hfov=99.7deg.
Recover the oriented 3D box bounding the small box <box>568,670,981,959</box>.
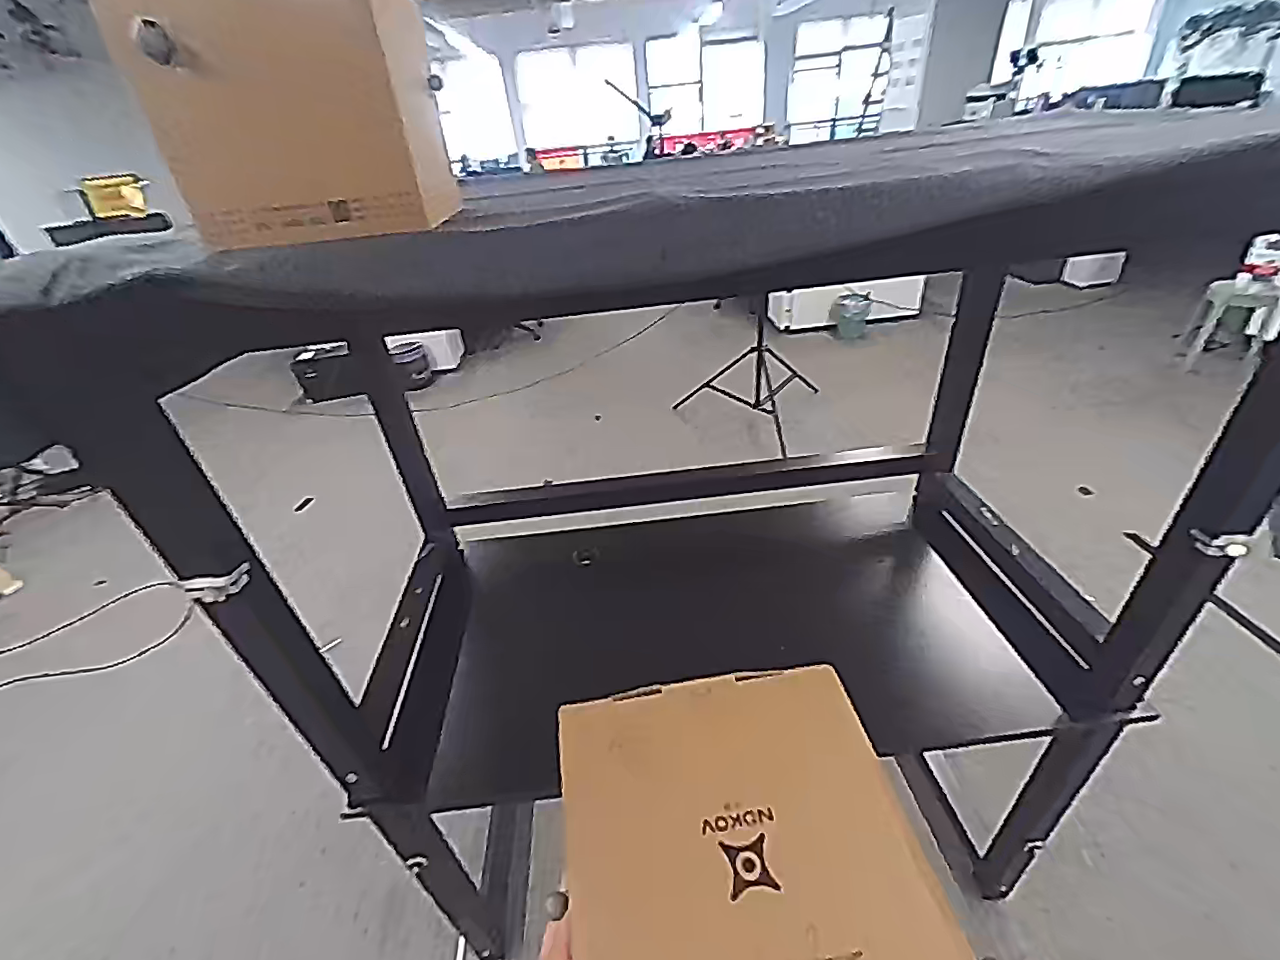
[{"bbox_3d":[0.052,0.237,0.300,0.168,0.176,0.179,-7,41,-7],"label":"small box"}]
